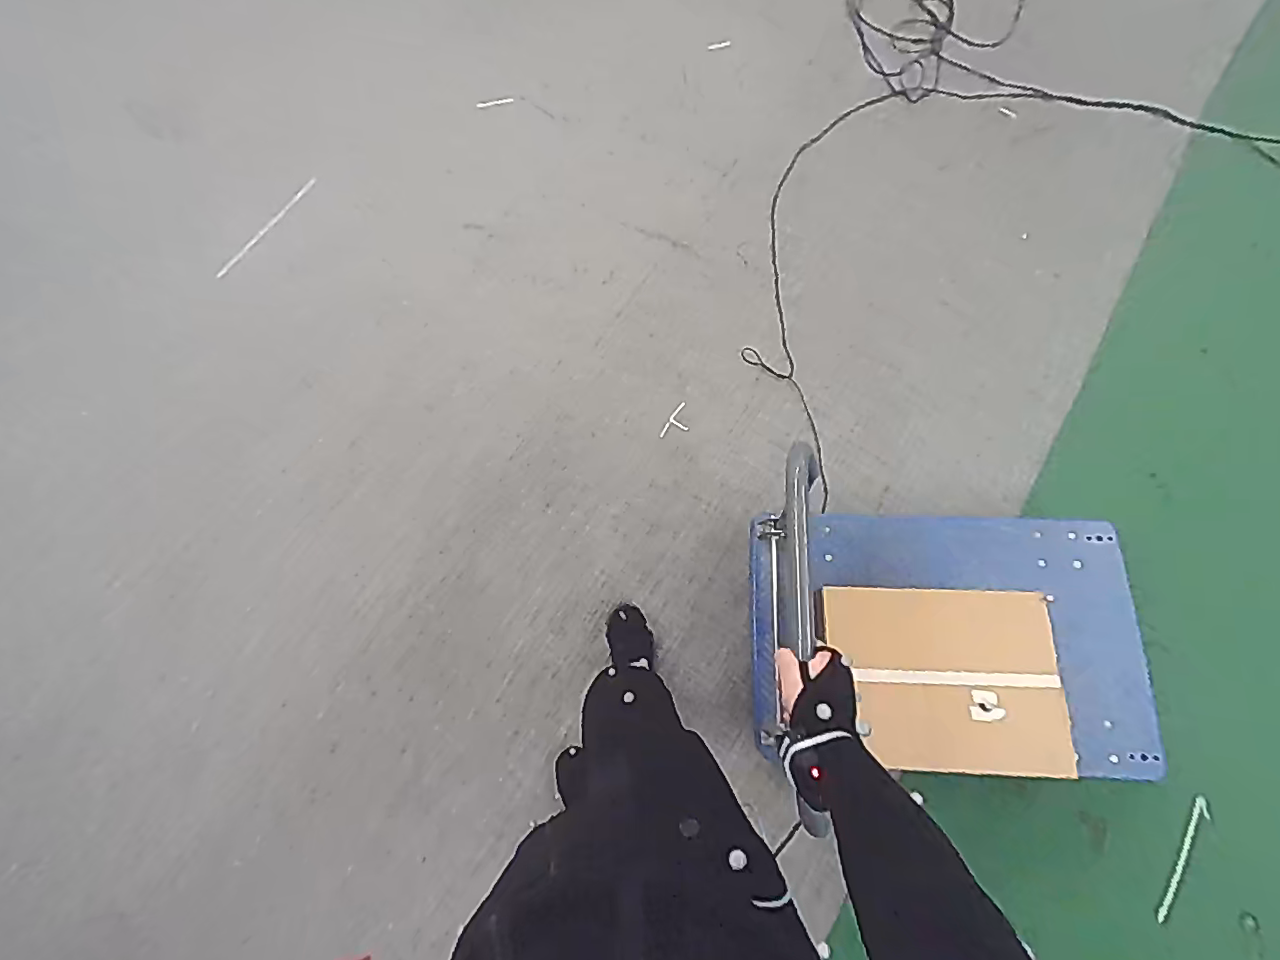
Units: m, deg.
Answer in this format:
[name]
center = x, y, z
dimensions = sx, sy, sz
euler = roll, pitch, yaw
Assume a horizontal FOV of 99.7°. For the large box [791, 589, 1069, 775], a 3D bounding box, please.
[large box]
center = 0.553, 0.404, 1.126
dimensions = 0.408, 0.320, 0.320
euler = 1, 73, 4
